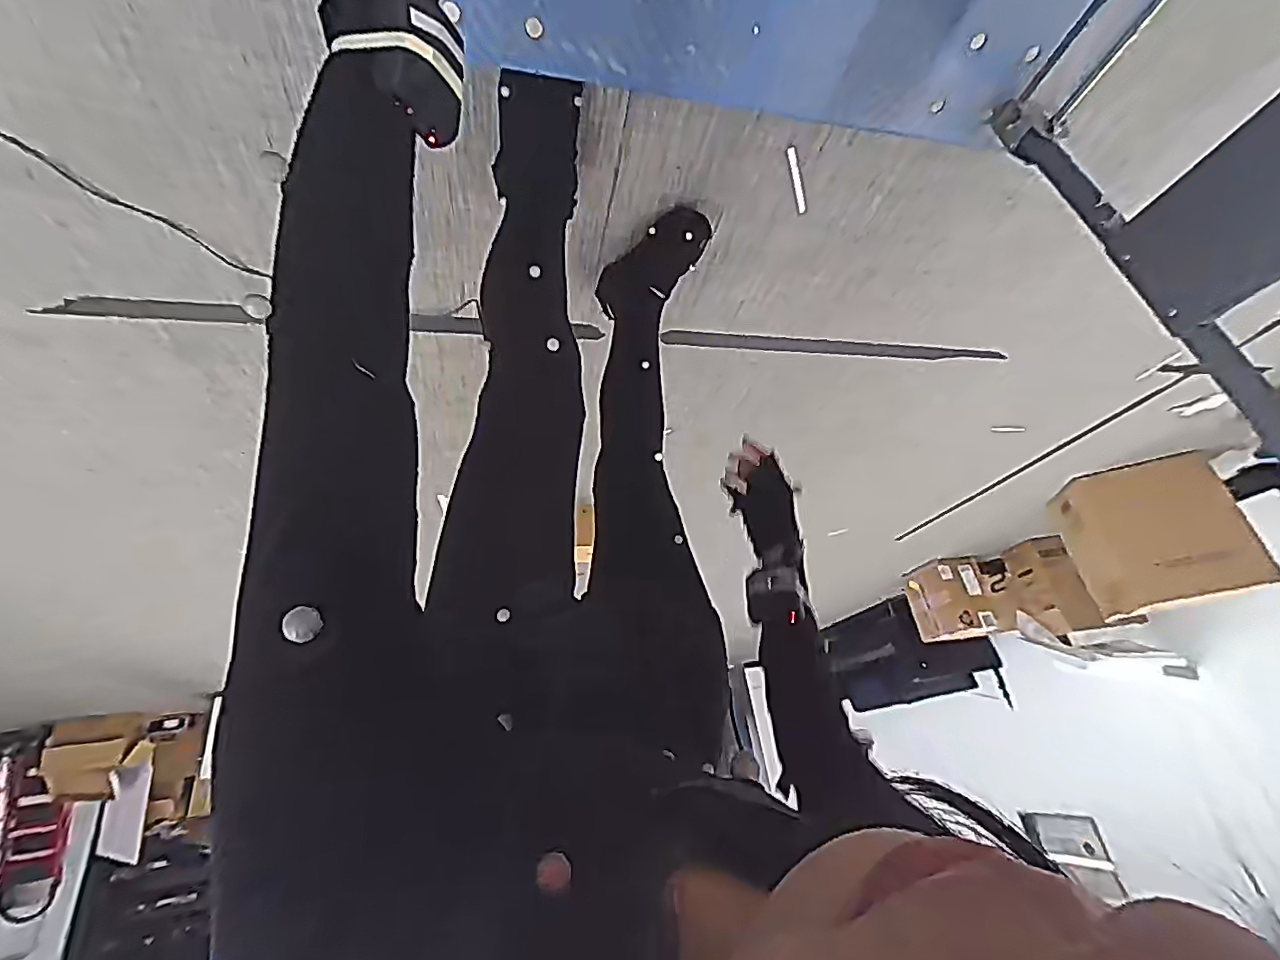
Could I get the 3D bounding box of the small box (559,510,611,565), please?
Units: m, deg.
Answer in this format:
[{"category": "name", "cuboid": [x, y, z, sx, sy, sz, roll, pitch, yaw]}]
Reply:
[{"category": "small box", "cuboid": [-0.222, 0.226, 2.124, 0.168, 0.176, 0.179, 0, 153, -19]}]
